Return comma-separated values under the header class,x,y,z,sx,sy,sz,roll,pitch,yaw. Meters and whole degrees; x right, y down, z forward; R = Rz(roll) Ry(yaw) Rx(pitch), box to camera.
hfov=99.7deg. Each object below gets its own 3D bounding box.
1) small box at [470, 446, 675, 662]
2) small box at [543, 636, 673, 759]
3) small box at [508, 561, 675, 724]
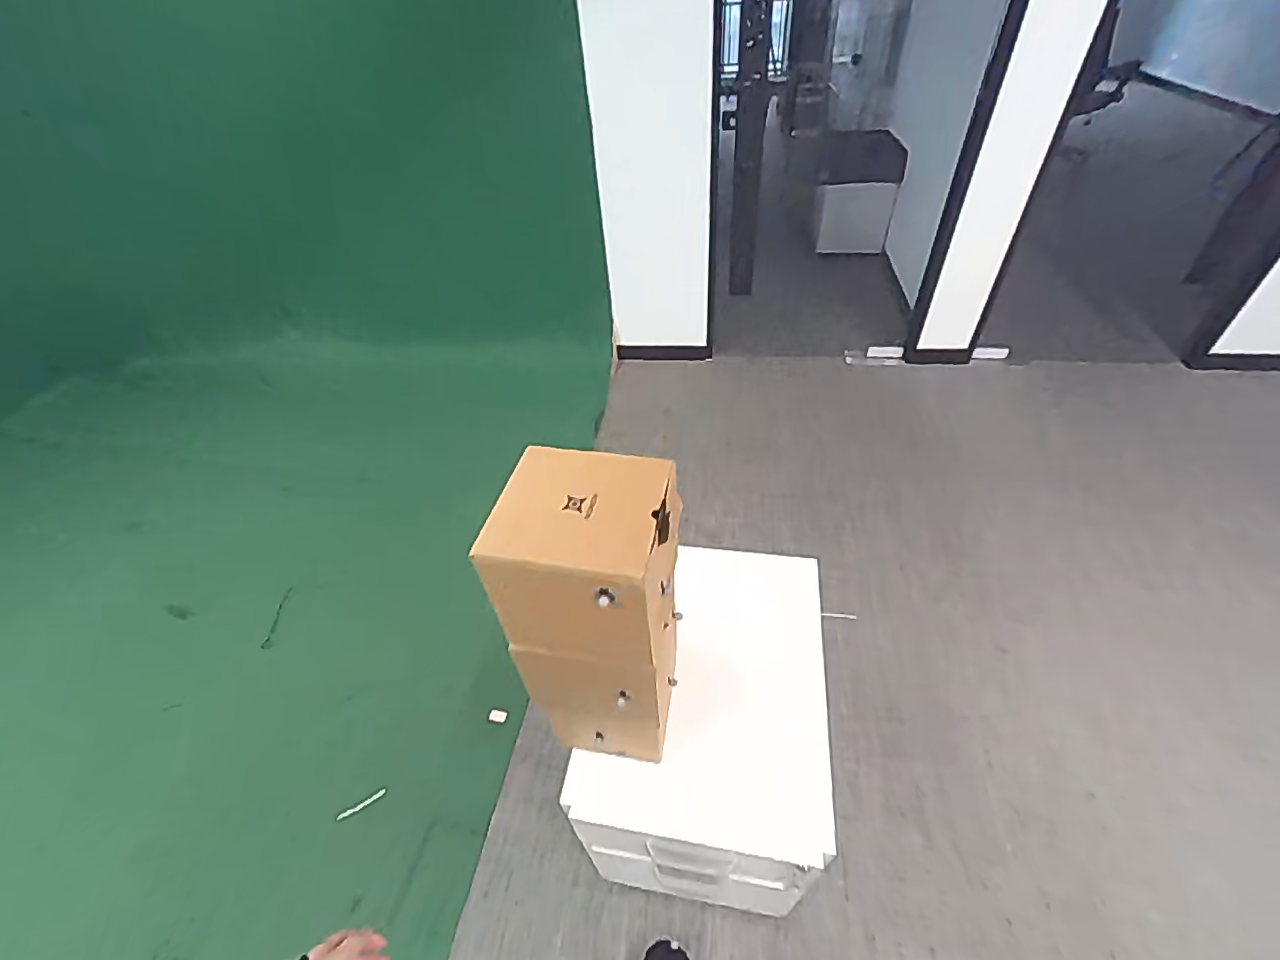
class,x,y,z,sx,sy,sz,roll,pitch,yaw
small box,-0.059,0.084,0.610,0.179,0.176,0.168,7,45,10
small box,-0.039,0.309,0.844,0.168,0.176,0.179,7,45,9
small box,-0.050,0.204,0.720,0.179,0.176,0.168,4,44,9
